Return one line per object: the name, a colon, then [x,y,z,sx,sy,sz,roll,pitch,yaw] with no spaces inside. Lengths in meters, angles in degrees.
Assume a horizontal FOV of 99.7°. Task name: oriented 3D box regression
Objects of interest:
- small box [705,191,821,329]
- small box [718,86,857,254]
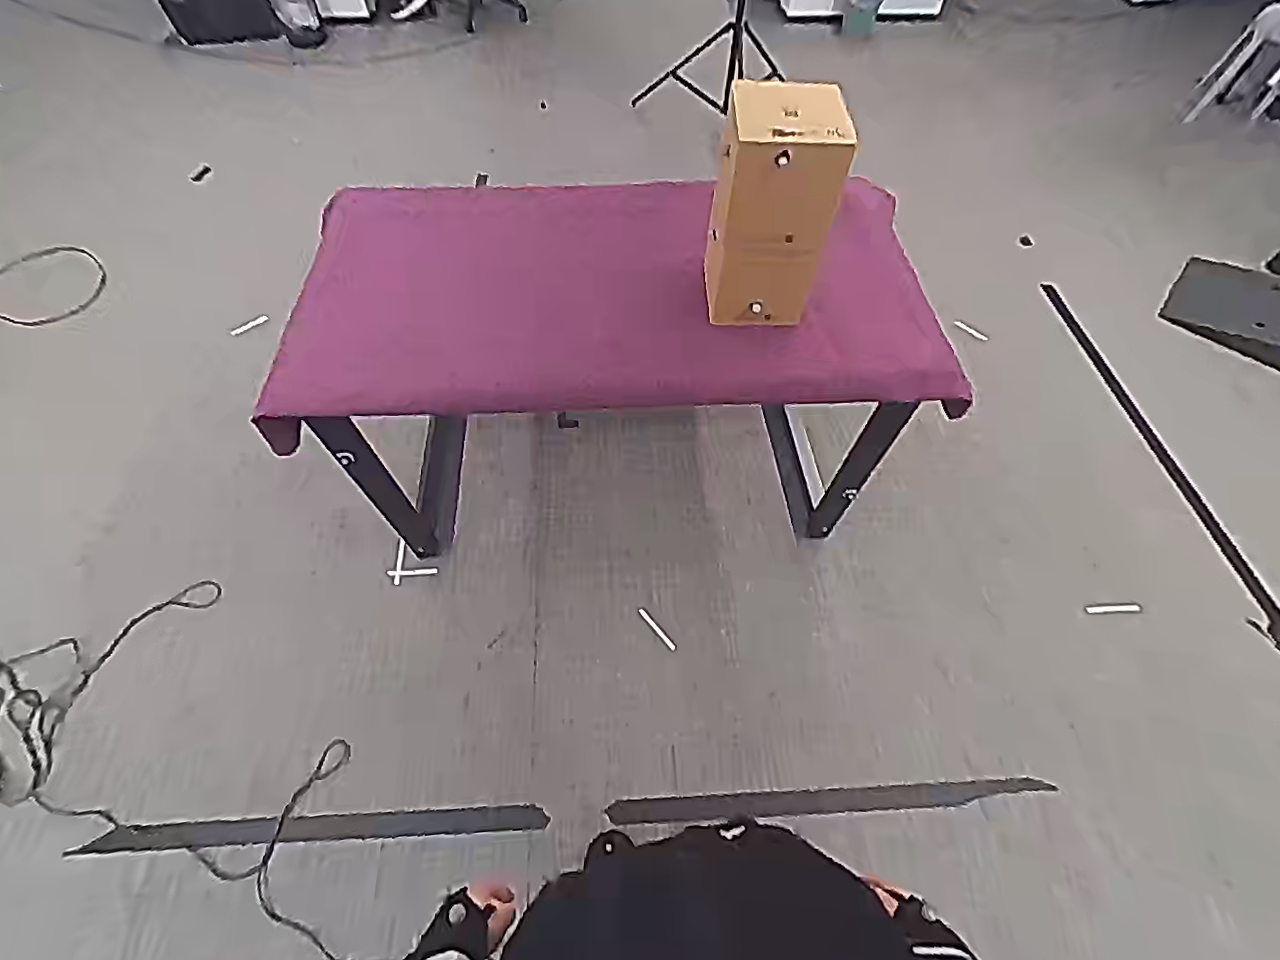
small box: [0.214,-0.402,0.991,0.168,0.176,0.179,0,59,-1]
small box: [0.217,-0.483,0.849,0.168,0.176,0.179,2,58,1]
